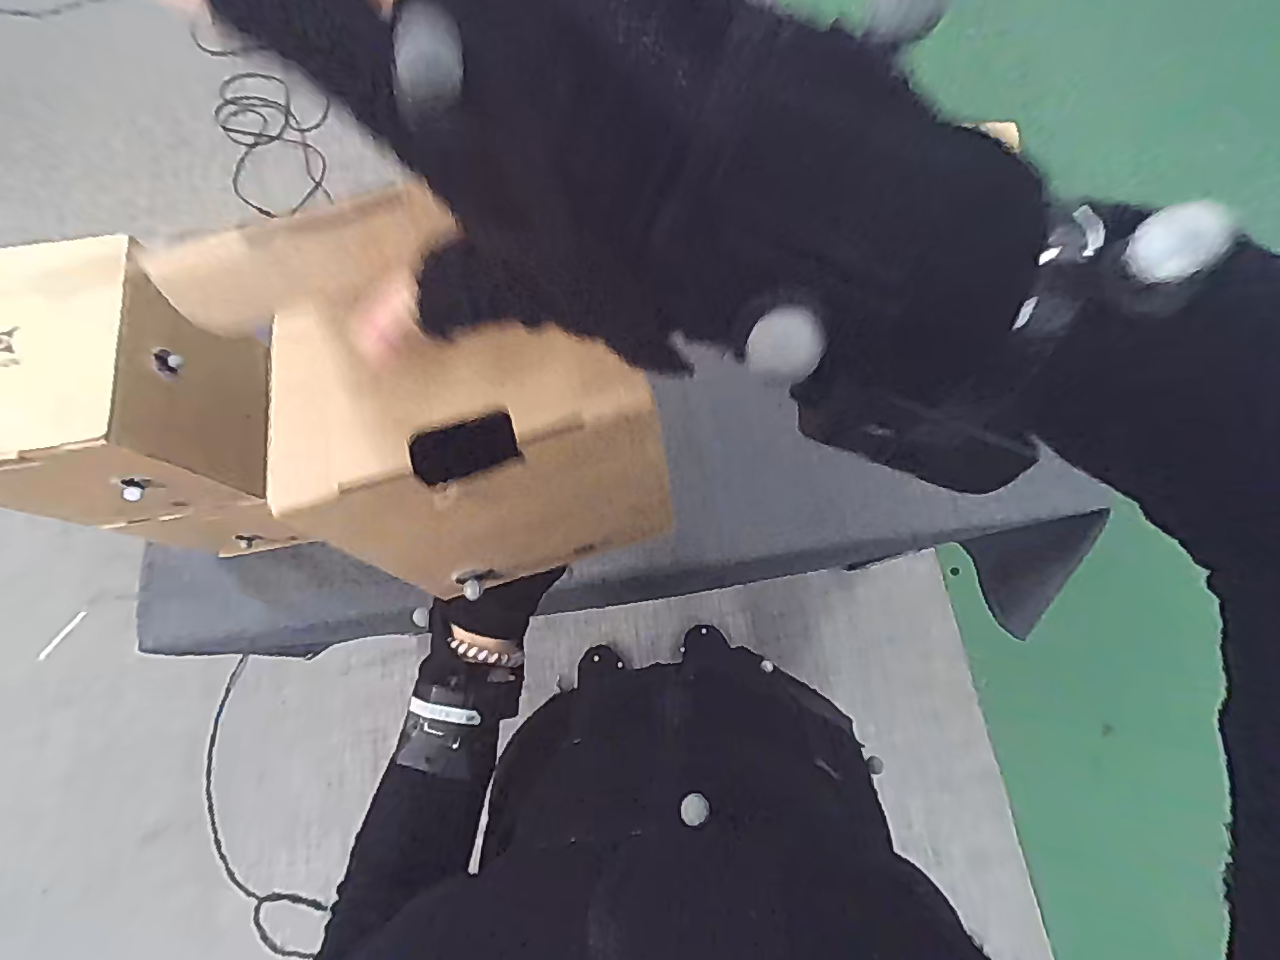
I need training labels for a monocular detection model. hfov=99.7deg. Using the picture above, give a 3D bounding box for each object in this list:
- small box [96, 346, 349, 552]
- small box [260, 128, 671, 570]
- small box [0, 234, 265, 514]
[{"bbox_3d":[-0.455,-0.027,0.622,0.168,0.176,0.179,-10,74,-3],"label":"small box"},{"bbox_3d":[-0.086,-0.059,0.325,0.168,0.176,0.179,-18,62,-1],"label":"small box"},{"bbox_3d":[-0.455,-0.074,0.466,0.168,0.176,0.179,-8,74,-4],"label":"small box"}]
